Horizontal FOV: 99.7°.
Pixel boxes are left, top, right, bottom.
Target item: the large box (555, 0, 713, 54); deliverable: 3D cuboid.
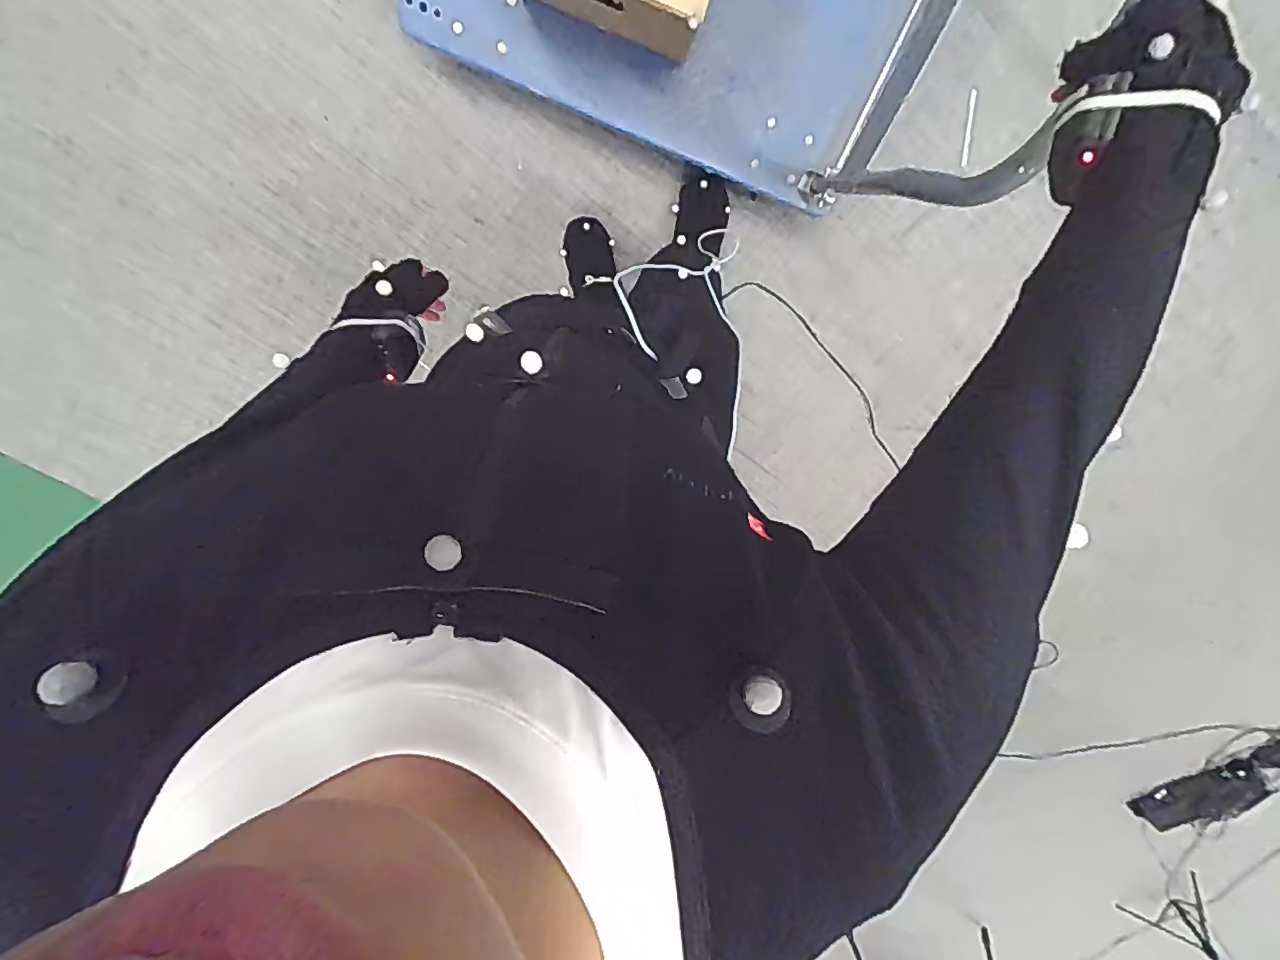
[{"bbox_3d":[0.003,-0.883,0.719,0.320,0.320,0.408,17,120,-8],"label":"large box"}]
